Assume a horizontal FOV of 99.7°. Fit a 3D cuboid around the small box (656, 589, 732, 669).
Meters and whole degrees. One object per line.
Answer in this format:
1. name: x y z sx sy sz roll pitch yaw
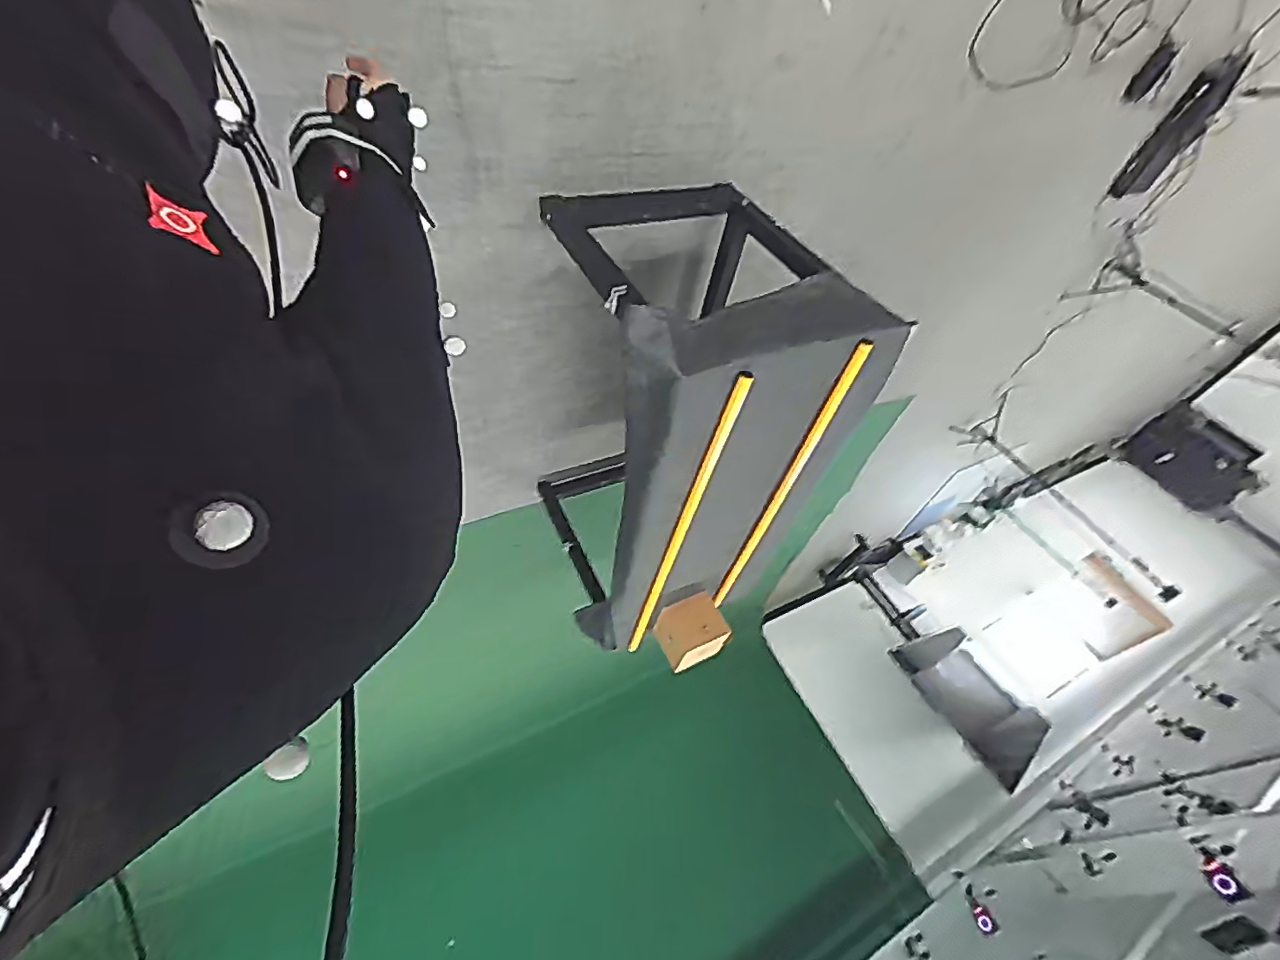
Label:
1. small box: 0.172 0.496 1.809 0.179 0.176 0.168 -17 145 -25
